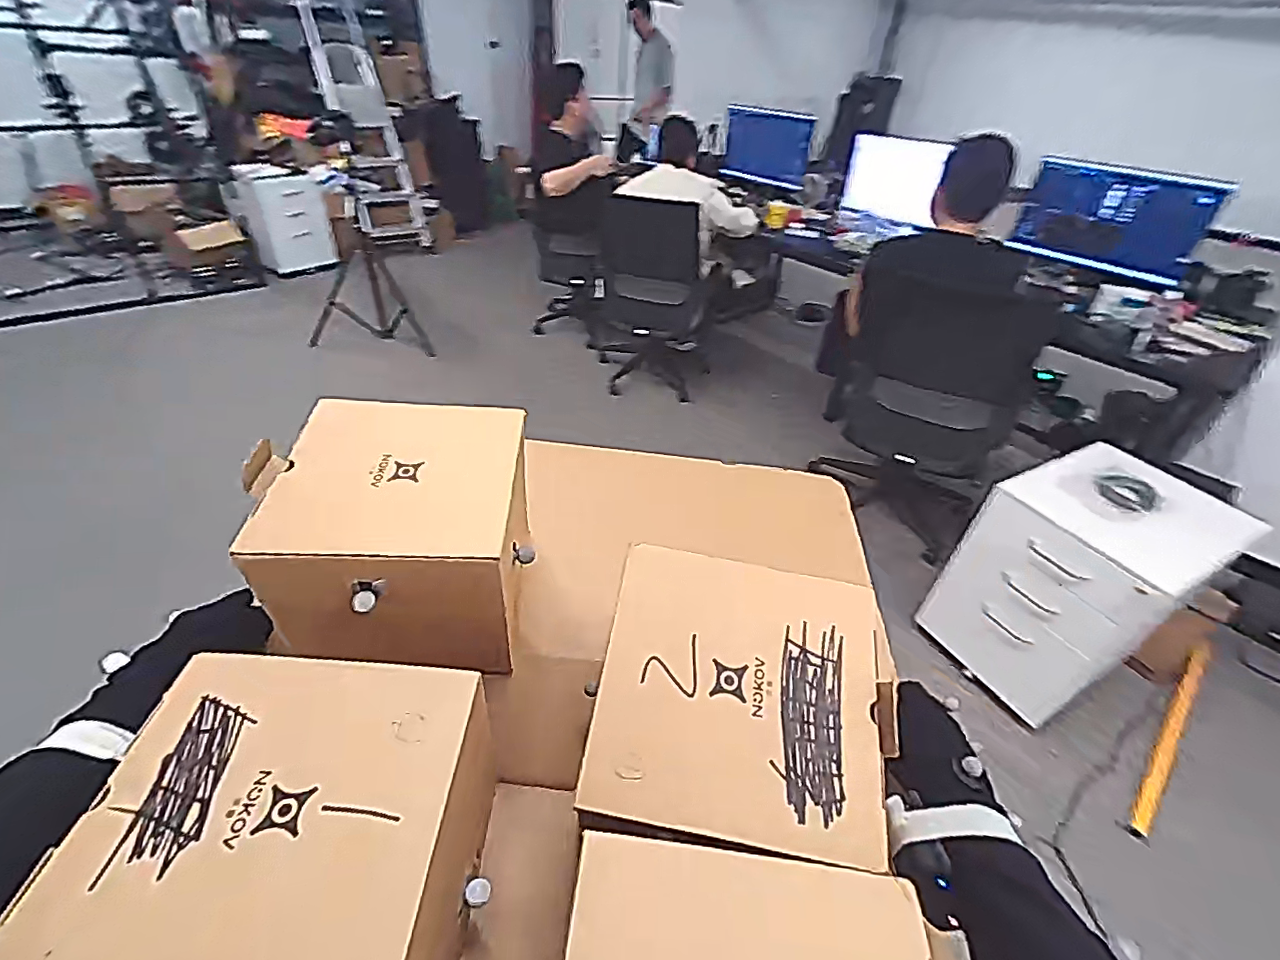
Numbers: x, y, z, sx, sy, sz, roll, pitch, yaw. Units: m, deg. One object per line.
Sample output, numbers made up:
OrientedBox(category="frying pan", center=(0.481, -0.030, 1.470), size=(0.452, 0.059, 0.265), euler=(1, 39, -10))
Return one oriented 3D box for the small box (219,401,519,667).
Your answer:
OrientedBox(category="small box", center=(-0.203, 0.050, 0.475), size=(0.179, 0.176, 0.168), euler=(1, 45, -6))
